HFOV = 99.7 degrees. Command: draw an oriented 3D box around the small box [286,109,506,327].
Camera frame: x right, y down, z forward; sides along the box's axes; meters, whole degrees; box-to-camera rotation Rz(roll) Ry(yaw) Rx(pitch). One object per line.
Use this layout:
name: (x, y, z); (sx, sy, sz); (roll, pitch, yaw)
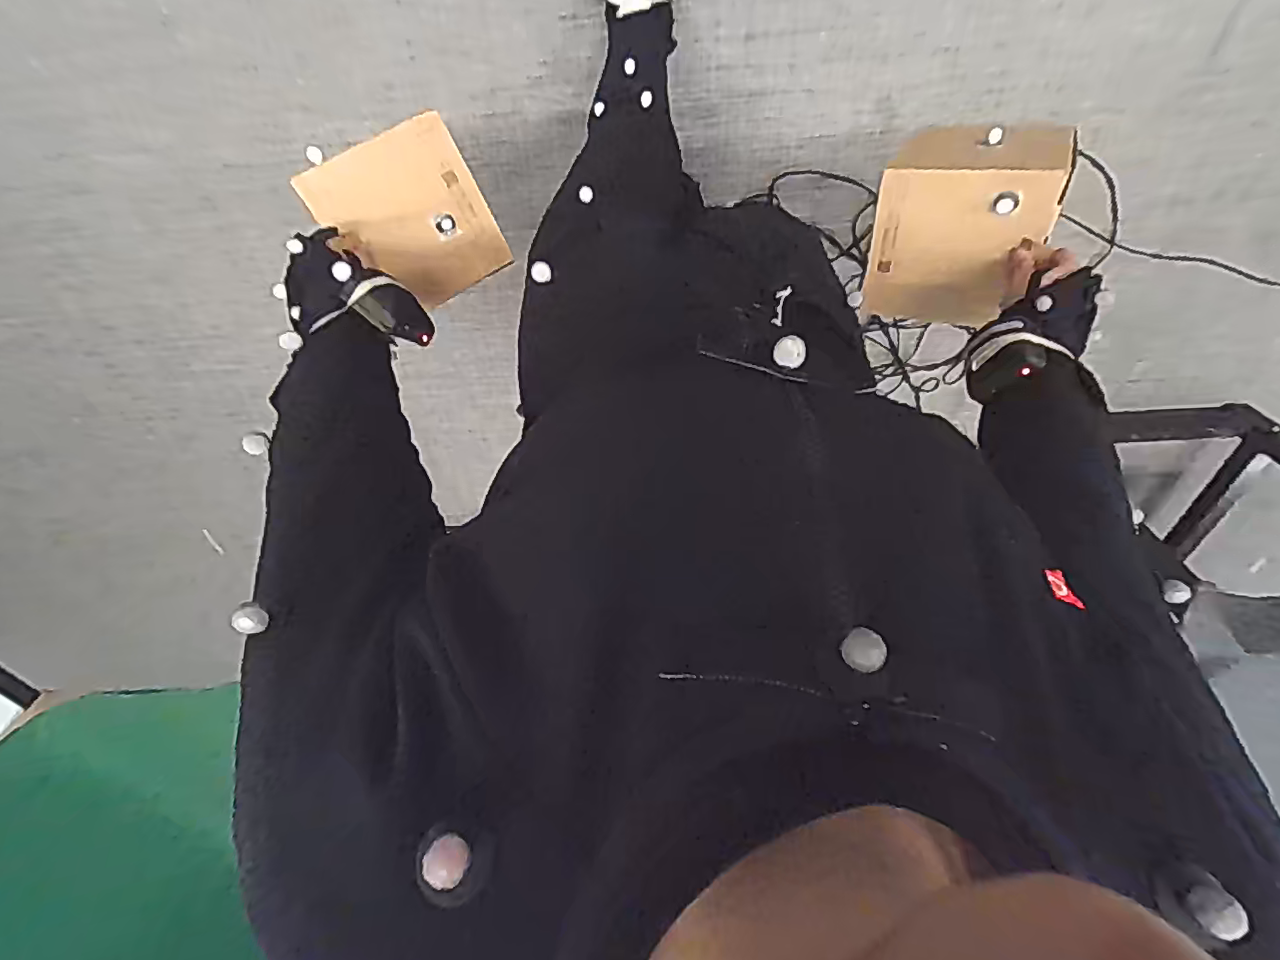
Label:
small box: (-0.284, -0.312, 0.646); (0.176, 0.179, 0.168); (-35, 128, -11)
